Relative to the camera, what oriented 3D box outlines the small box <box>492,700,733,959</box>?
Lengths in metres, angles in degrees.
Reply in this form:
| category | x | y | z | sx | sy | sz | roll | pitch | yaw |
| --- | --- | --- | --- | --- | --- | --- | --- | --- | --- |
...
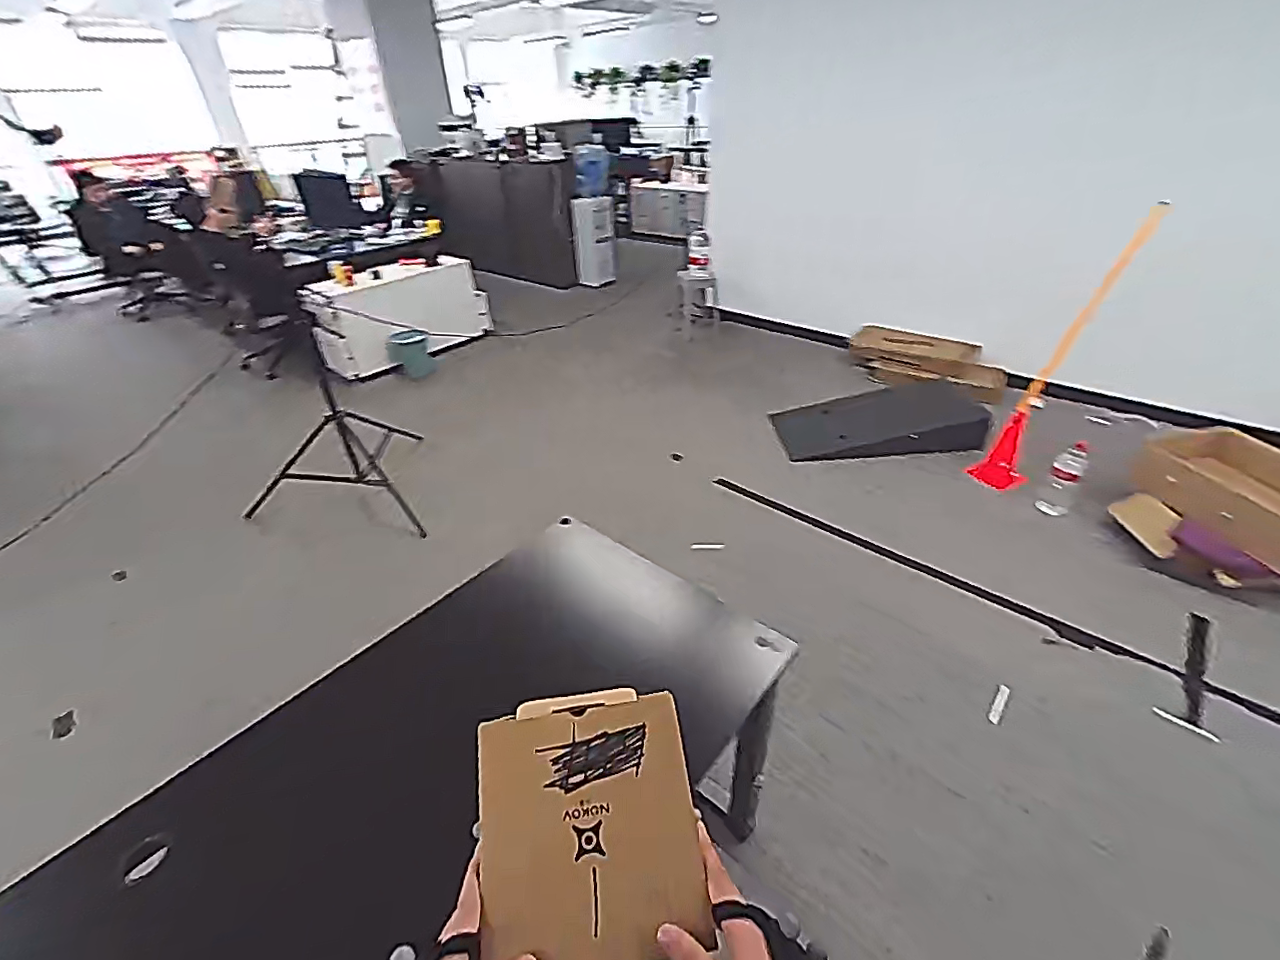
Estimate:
| category | x | y | z | sx | sy | sz | roll | pitch | yaw |
| --- | --- | --- | --- | --- | --- | --- | --- | --- | --- |
| small box | -0.031 | 0.309 | 0.472 | 0.168 | 0.176 | 0.179 | -6 | 59 | -6 |
